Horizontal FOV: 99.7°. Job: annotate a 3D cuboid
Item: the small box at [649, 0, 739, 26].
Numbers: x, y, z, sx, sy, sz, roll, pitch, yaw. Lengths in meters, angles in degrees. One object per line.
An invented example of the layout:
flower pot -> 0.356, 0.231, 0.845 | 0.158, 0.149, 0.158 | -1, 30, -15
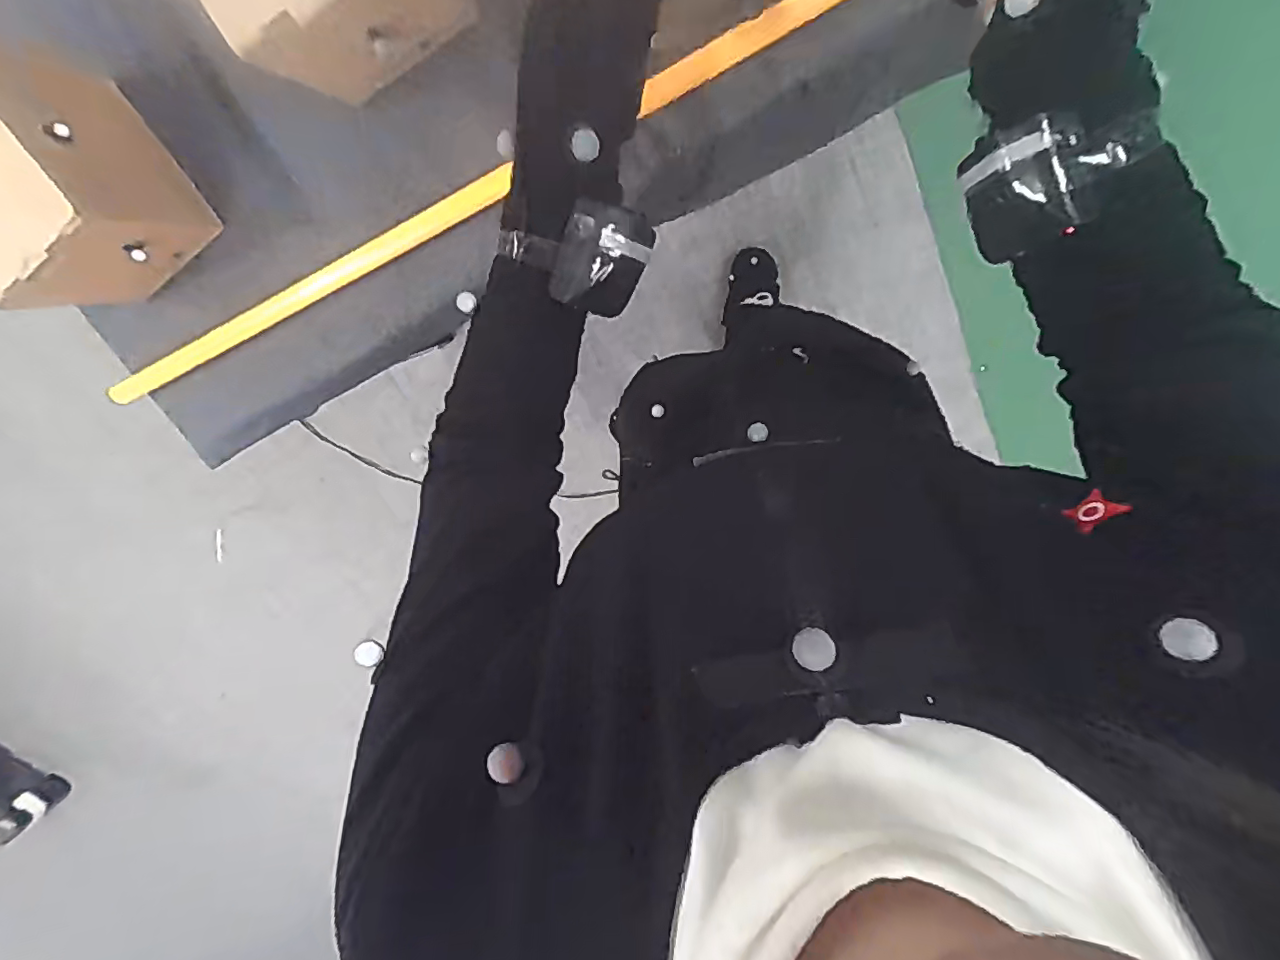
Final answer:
small box -> 0.058, -0.422, 0.317 | 0.168, 0.176, 0.179 | -13, 114, 12

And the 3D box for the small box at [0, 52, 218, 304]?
small box -> -0.607, -0.308, 0.565 | 0.168, 0.176, 0.179 | -28, 105, 16

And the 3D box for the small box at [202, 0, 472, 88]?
small box -> -0.276, -0.471, 0.454 | 0.168, 0.176, 0.179 | -25, 107, 18
